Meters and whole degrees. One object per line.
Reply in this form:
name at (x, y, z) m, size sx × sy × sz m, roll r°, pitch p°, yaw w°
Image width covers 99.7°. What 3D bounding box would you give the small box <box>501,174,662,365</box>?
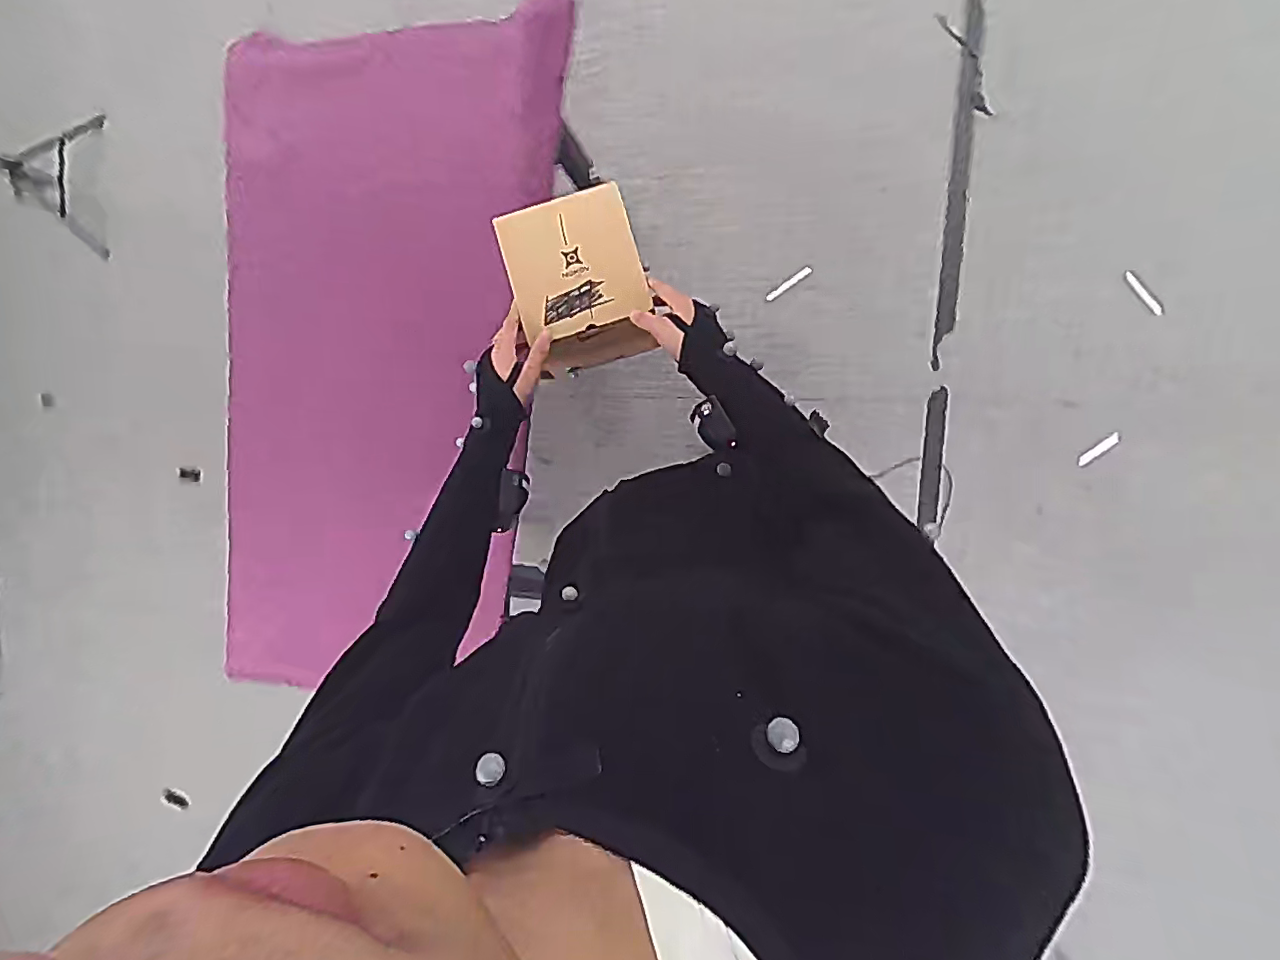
small box at (-0.068, -0.269, 0.739) m, size 0.168 × 0.176 × 0.179 m, roll -16°, pitch 86°, yaw 2°
